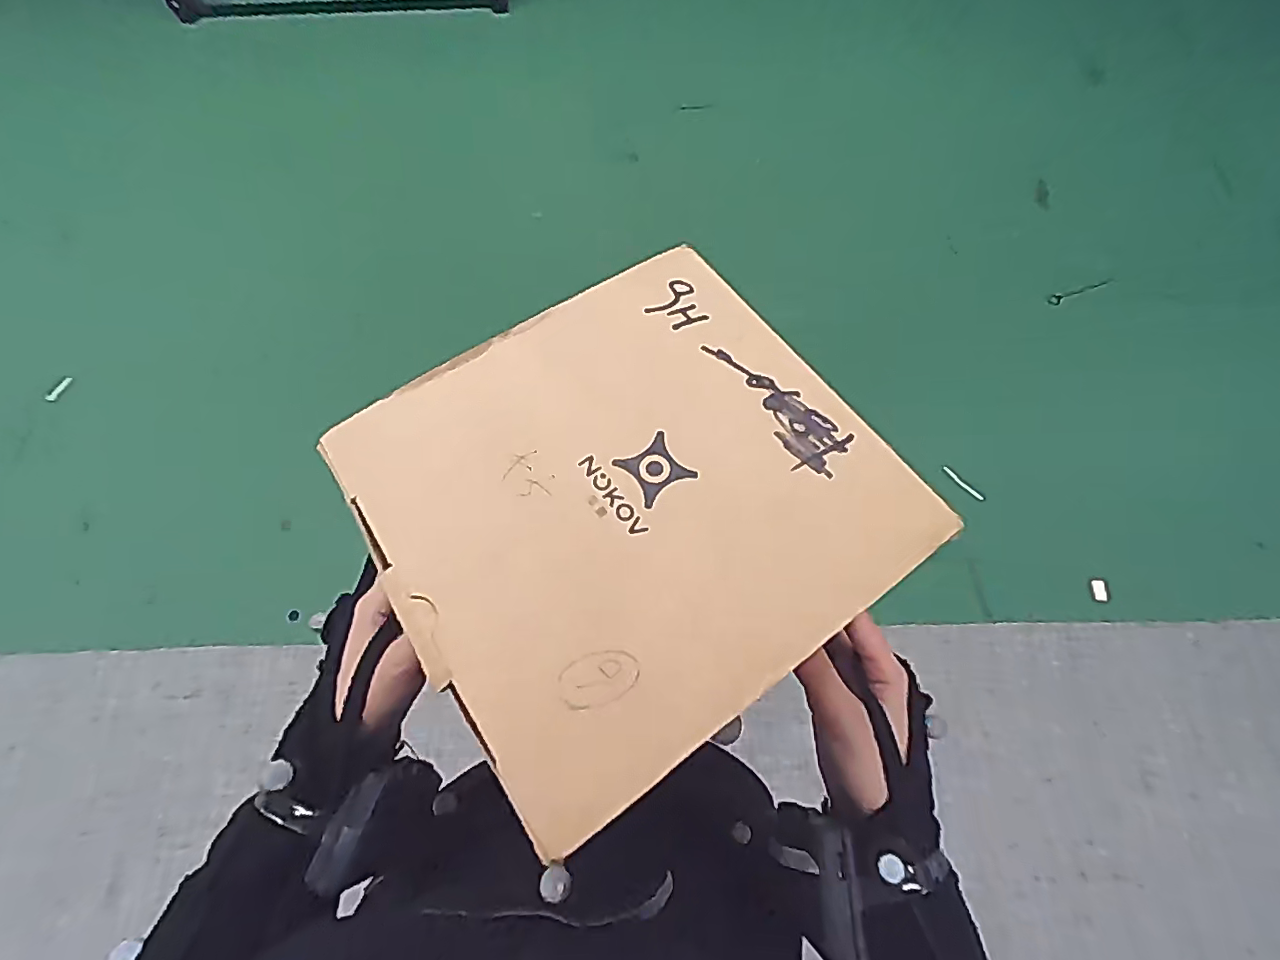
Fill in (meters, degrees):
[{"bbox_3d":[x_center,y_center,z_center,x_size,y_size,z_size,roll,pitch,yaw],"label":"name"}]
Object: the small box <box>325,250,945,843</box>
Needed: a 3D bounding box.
[{"bbox_3d":[-0.005,0.033,0.271,0.179,0.176,0.168,-33,71,-14],"label":"small box"}]
